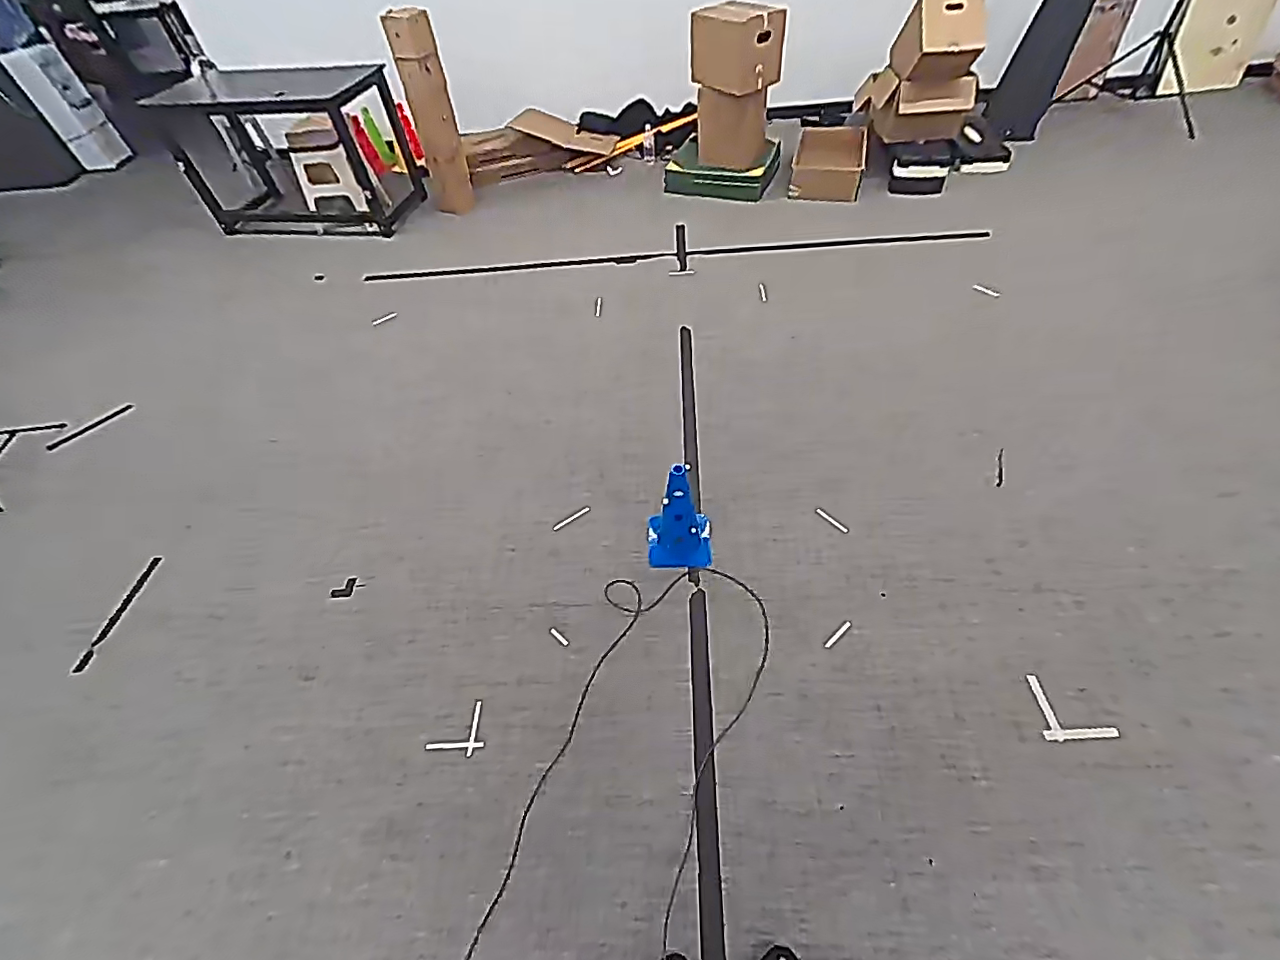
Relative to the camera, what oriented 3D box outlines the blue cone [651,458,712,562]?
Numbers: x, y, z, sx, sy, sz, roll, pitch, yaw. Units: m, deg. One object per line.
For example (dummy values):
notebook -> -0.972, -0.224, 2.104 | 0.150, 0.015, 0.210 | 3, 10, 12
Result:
blue cone -> 0.118, 0.077, 1.603 | 0.193, 0.380, 0.192 | -3, 51, 4
